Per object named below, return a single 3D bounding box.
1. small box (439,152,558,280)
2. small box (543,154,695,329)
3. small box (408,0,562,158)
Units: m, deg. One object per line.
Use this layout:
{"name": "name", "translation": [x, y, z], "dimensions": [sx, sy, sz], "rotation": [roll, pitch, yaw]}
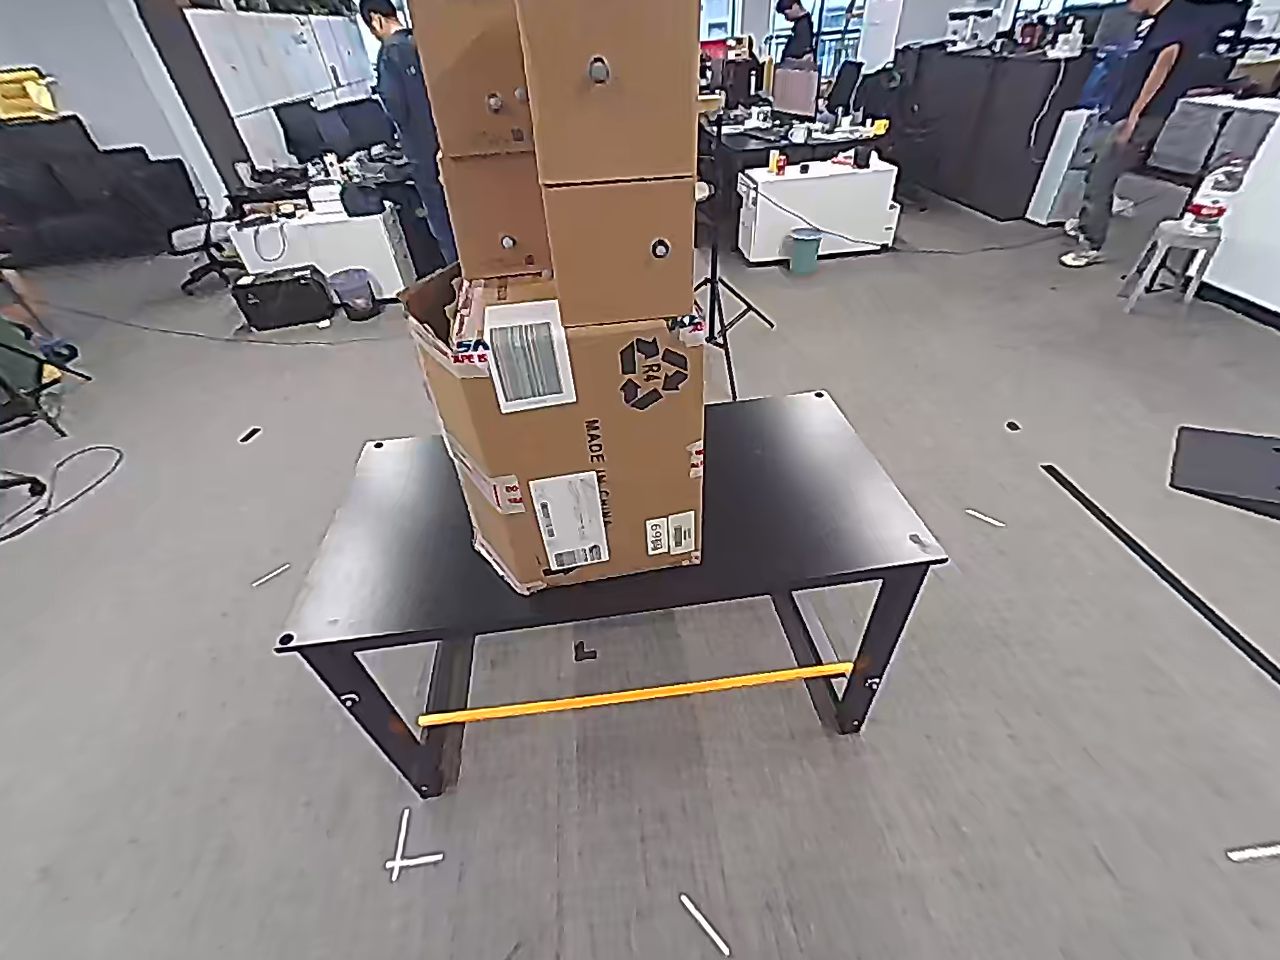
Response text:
{"name": "small box", "translation": [-0.210, -0.434, 0.866], "dimensions": [0.168, 0.176, 0.179], "rotation": [-9, 39, -8]}
{"name": "small box", "translation": [-0.030, -0.317, 0.719], "dimensions": [0.179, 0.176, 0.168], "rotation": [-8, 40, -5]}
{"name": "small box", "translation": [-0.209, -0.559, 0.757], "dimensions": [0.168, 0.176, 0.179], "rotation": [-11, 39, -9]}
